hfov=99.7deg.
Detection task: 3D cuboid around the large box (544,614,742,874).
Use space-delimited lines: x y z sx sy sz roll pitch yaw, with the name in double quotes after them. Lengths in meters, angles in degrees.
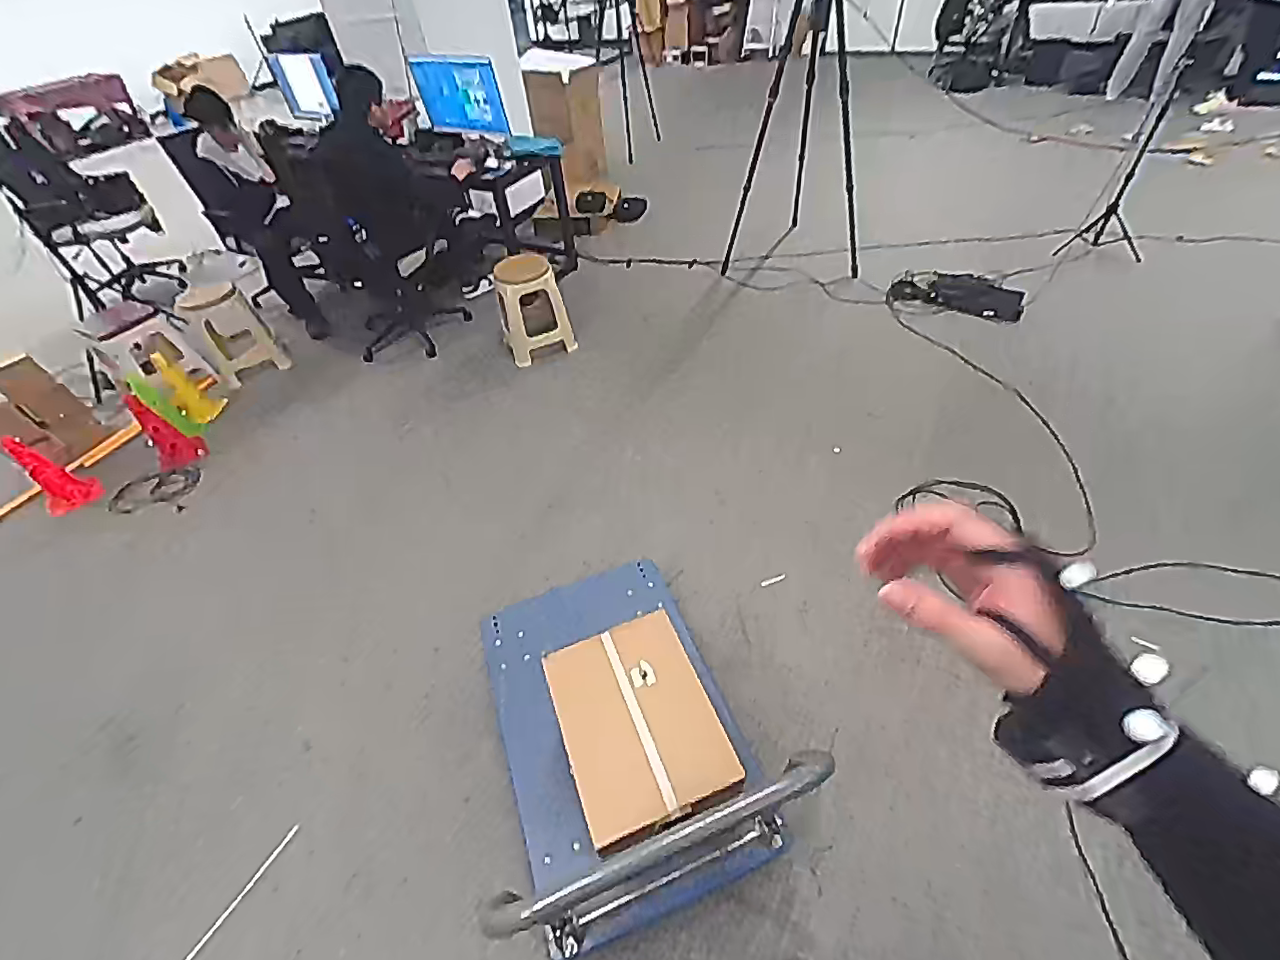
0.005 0.605 1.264 0.320 0.320 0.408 -19 46 -12 "large box"
